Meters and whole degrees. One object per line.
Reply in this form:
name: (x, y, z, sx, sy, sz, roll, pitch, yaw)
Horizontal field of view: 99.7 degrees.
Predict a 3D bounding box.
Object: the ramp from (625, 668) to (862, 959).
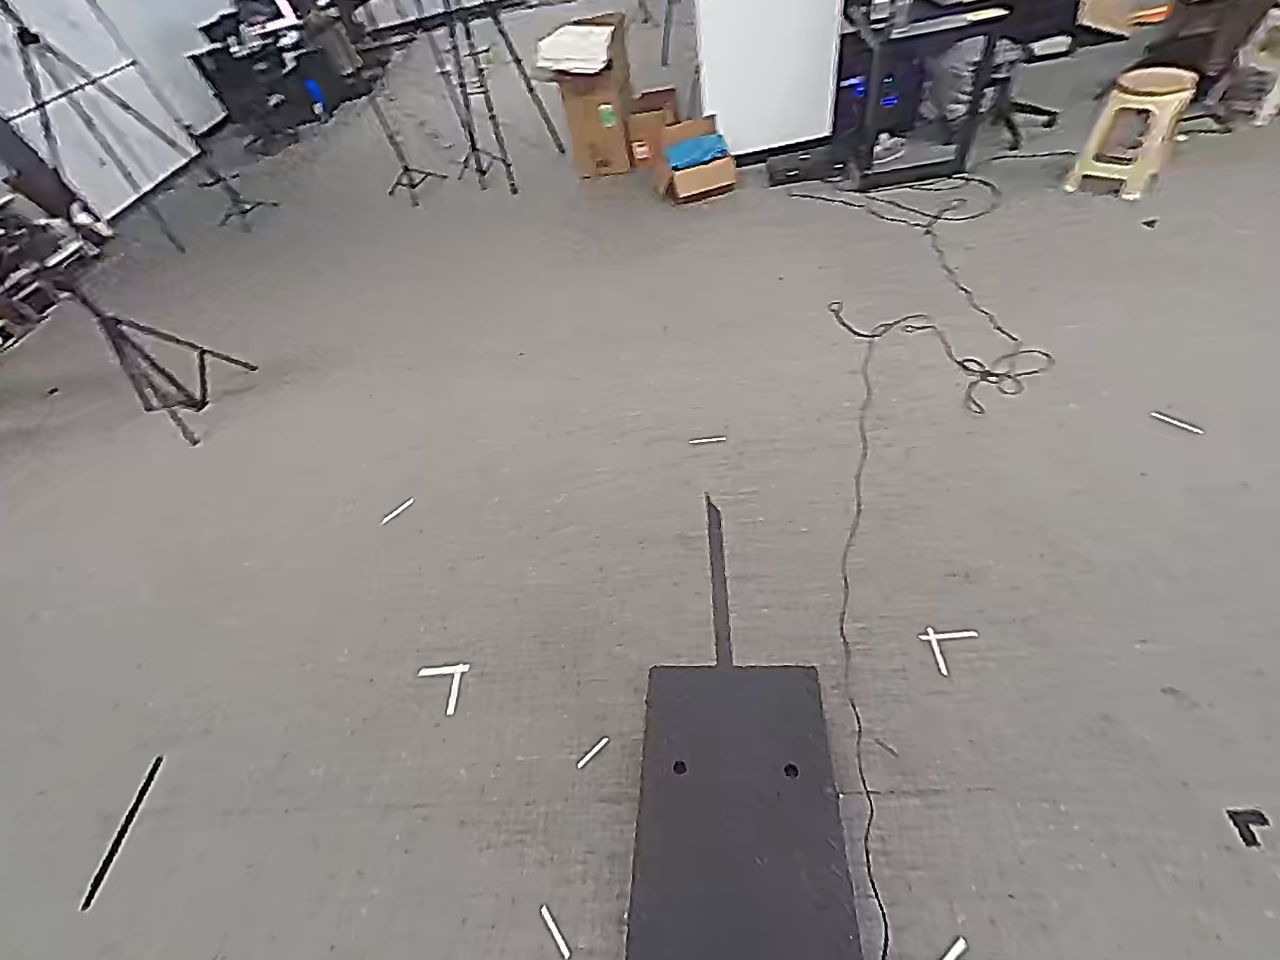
ramp: (0.221, 0.890, 1.233, 0.509, 0.206, 0.991, -6, 50, 10)
